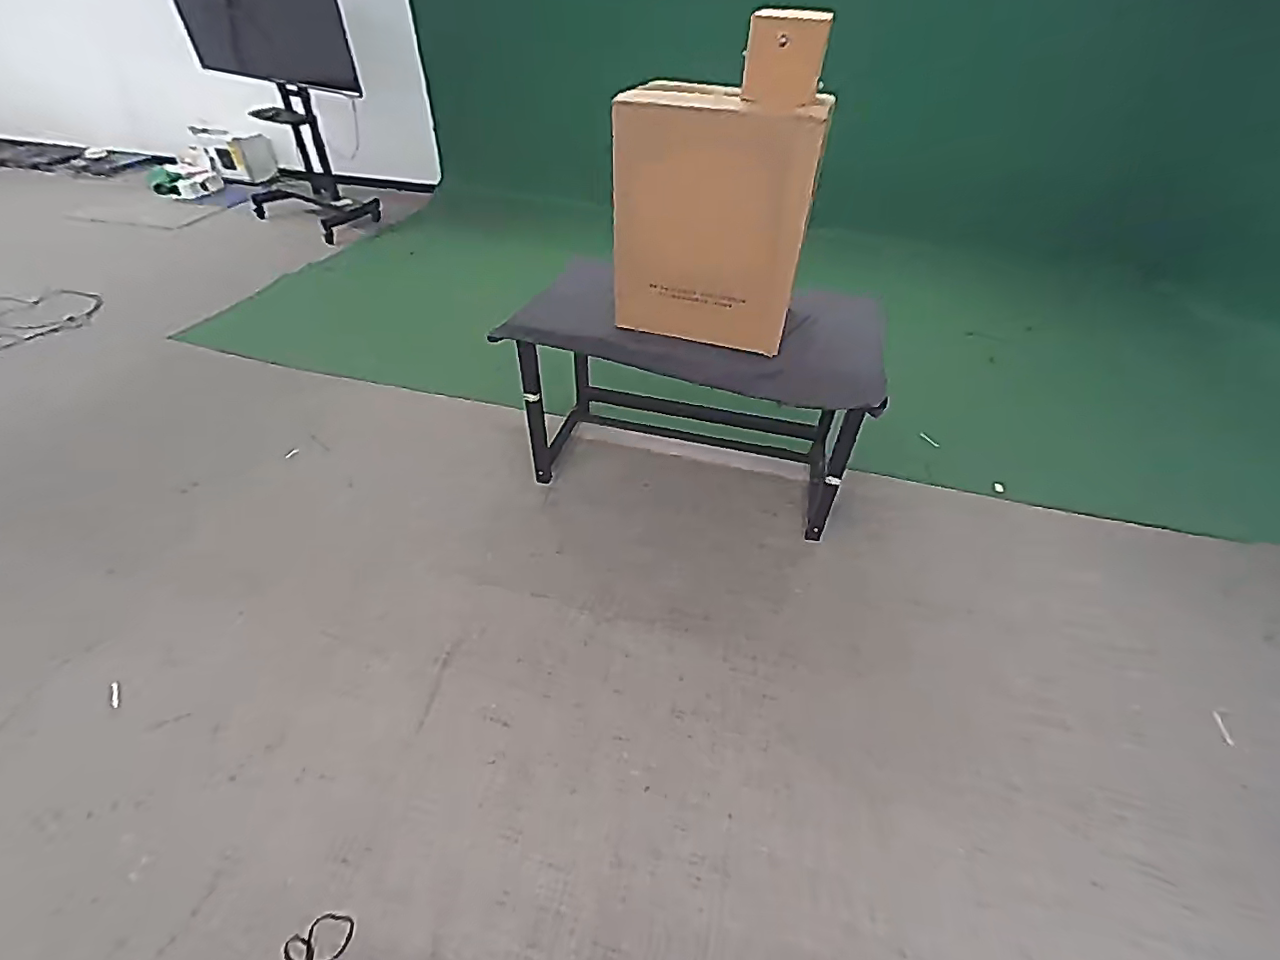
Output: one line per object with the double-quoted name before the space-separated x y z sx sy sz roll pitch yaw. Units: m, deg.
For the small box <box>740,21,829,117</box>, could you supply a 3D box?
"small box" 0.359 -1.032 1.358 0.179 0.176 0.168 15 47 10
